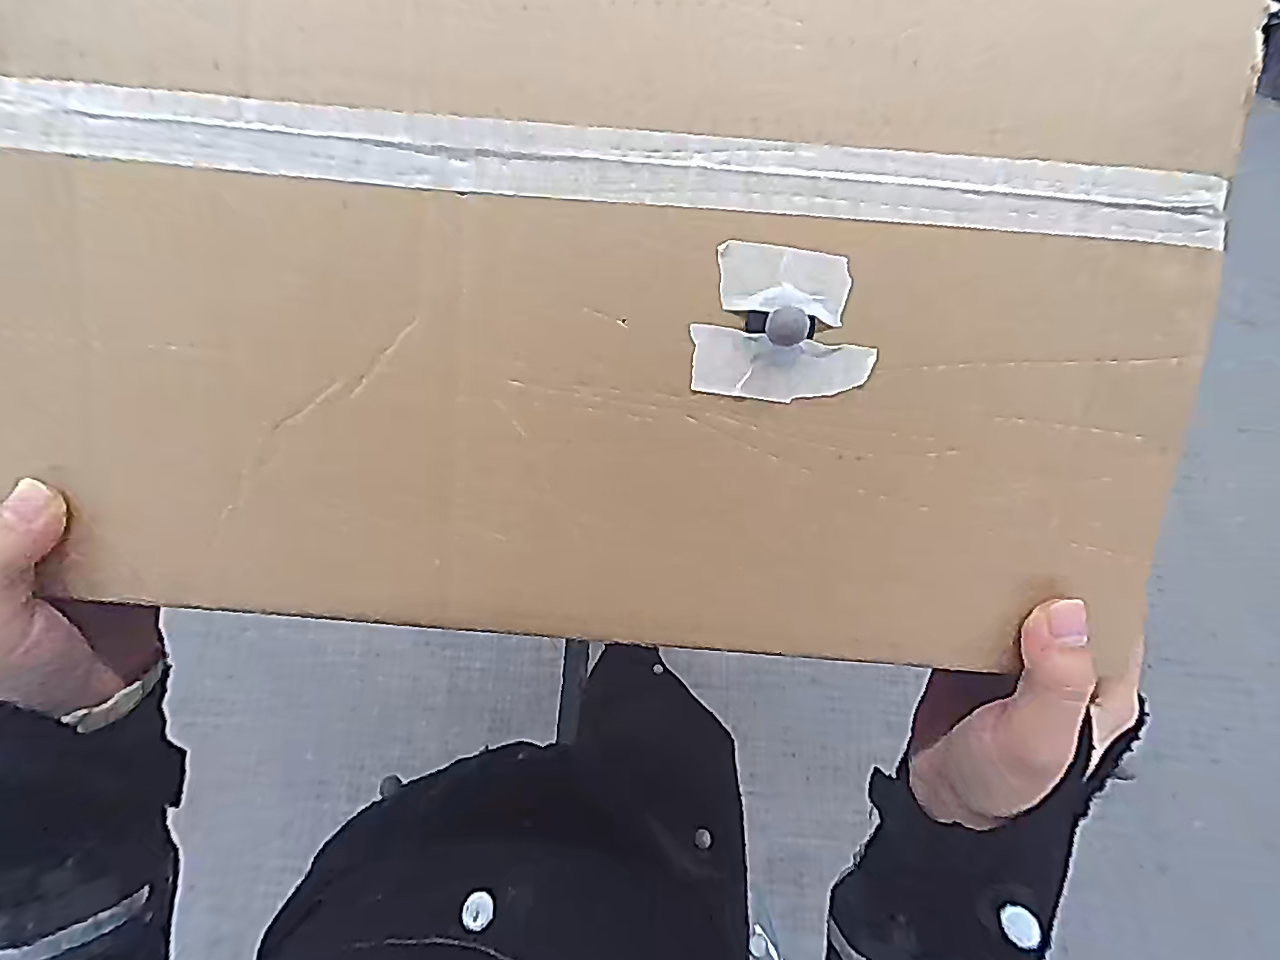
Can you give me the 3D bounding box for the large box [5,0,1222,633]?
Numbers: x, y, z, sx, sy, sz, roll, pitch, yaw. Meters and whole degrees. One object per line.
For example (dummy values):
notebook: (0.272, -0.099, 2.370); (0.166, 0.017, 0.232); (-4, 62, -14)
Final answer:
large box: (-0.015, -0.120, 0.333); (0.408, 0.320, 0.320); (4, 98, -1)
